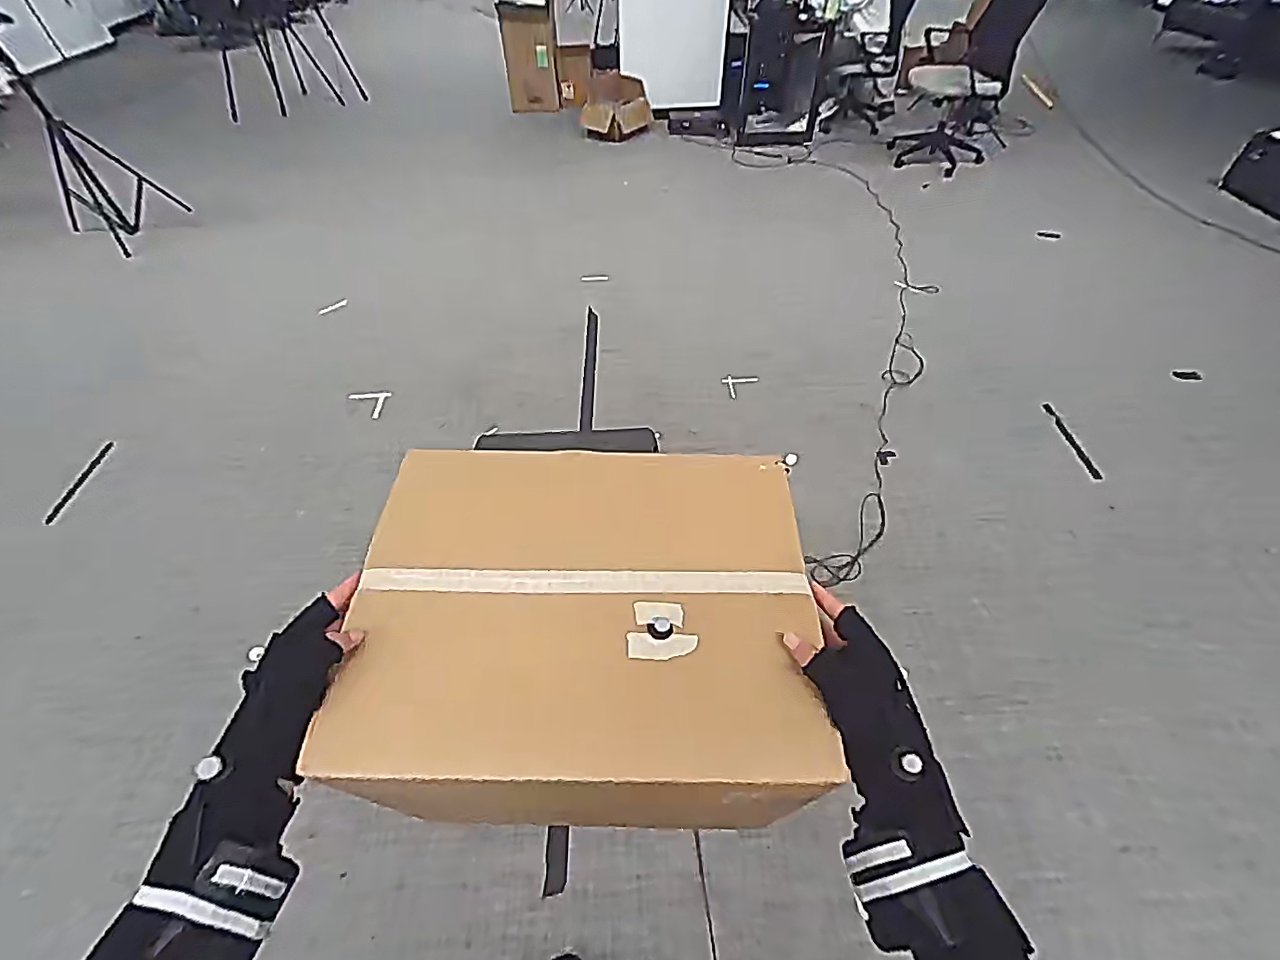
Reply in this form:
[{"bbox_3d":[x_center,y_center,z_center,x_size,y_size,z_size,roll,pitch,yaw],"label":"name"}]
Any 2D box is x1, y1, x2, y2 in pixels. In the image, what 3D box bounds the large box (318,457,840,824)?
[{"bbox_3d":[-0.049,0.190,0.613,0.408,0.320,0.320,2,53,-1],"label":"large box"}]
